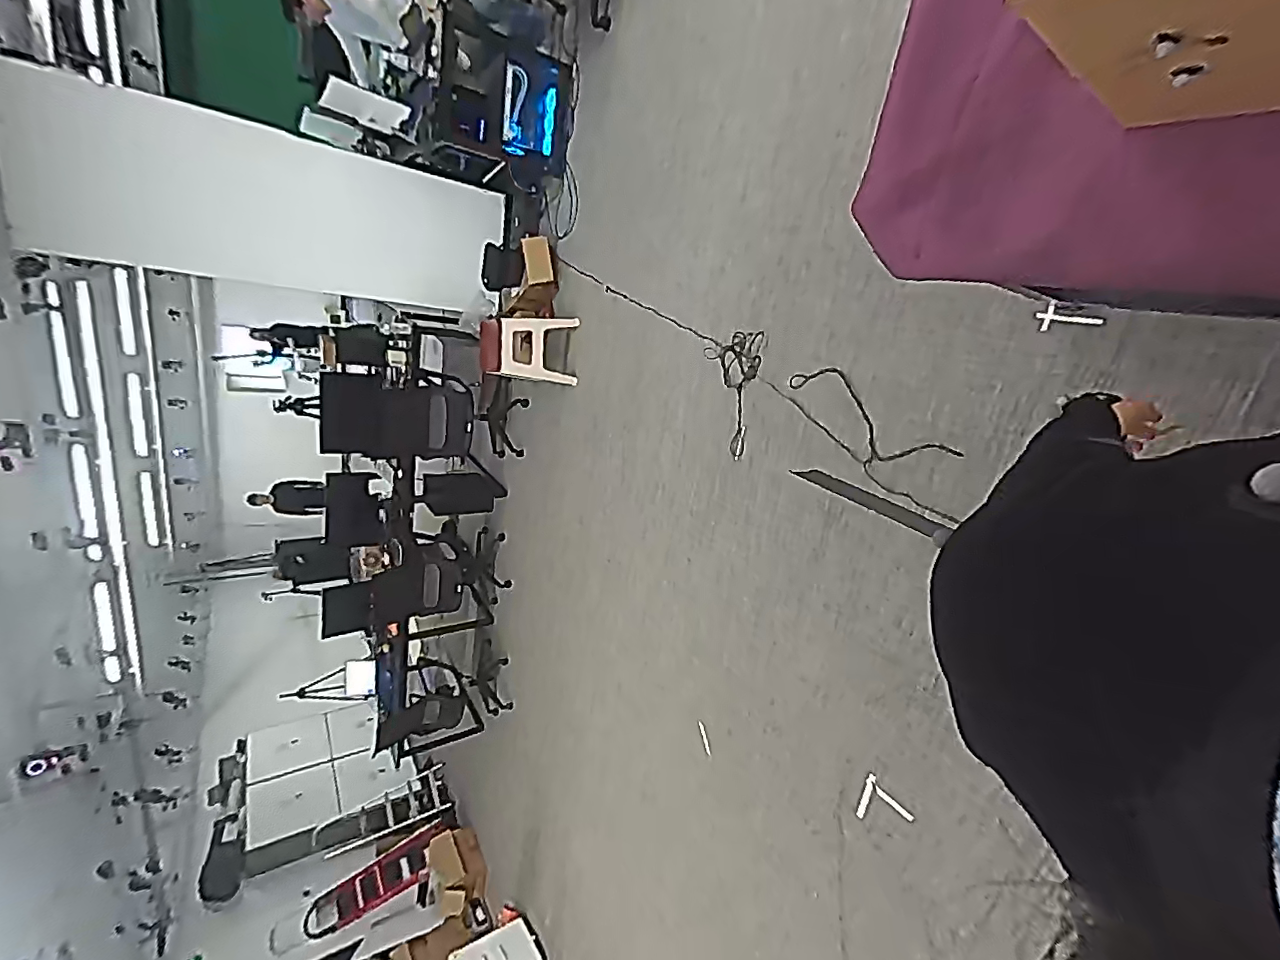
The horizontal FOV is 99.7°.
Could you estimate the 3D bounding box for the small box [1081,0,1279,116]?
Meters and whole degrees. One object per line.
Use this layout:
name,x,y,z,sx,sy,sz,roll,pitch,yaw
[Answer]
small box,0.549,-0.448,0.476,0.179,0.176,0.168,32,119,49
